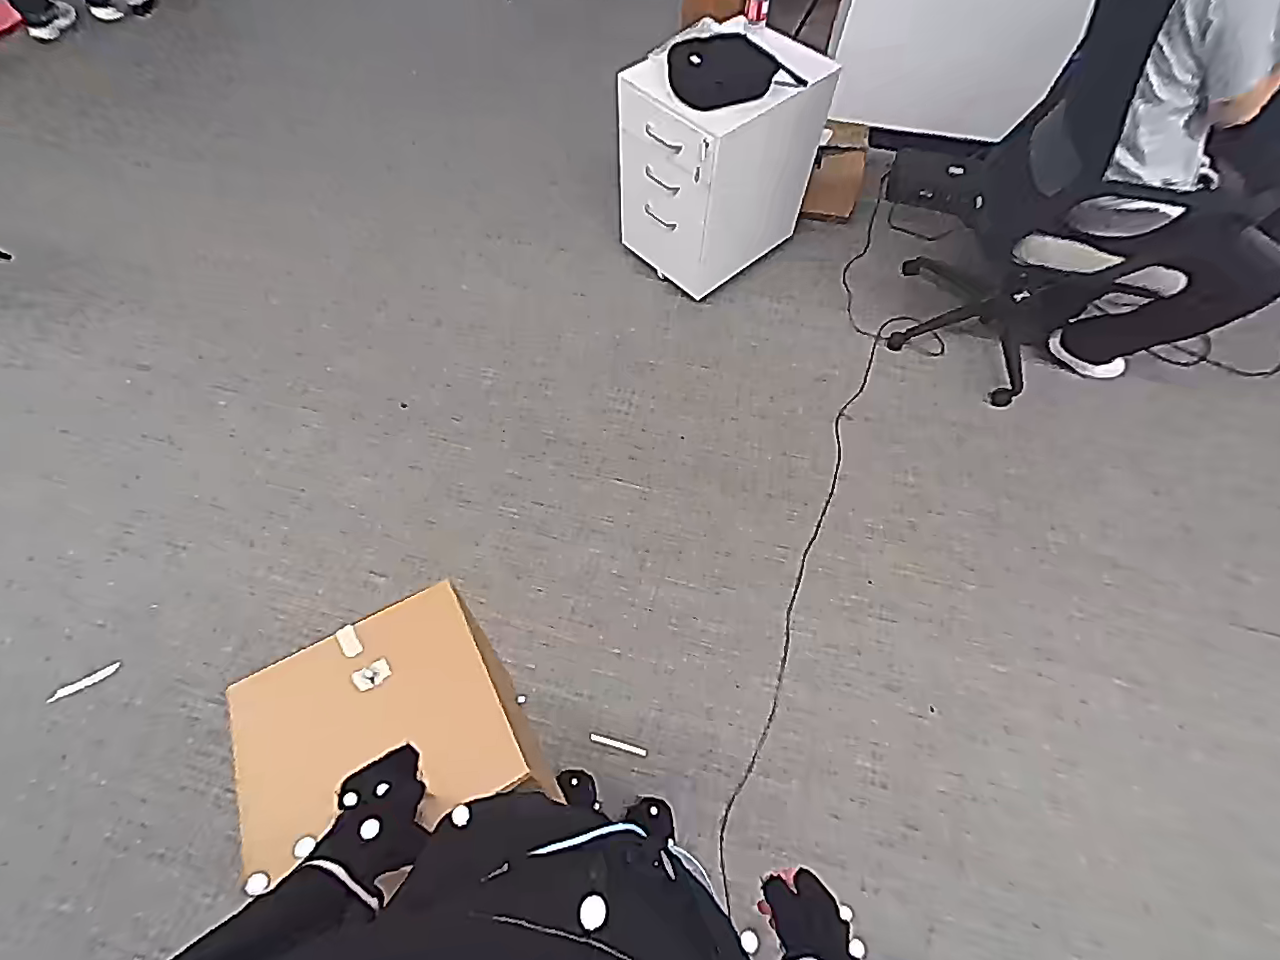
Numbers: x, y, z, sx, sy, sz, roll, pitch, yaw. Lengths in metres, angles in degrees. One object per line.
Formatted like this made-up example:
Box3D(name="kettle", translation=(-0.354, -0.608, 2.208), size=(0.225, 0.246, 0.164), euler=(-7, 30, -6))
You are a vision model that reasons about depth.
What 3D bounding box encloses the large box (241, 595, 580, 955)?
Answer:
Box3D(name="large box", translation=(-0.321, 0.446, 0.835), size=(0.320, 0.408, 0.320), euler=(-25, 55, -16))
